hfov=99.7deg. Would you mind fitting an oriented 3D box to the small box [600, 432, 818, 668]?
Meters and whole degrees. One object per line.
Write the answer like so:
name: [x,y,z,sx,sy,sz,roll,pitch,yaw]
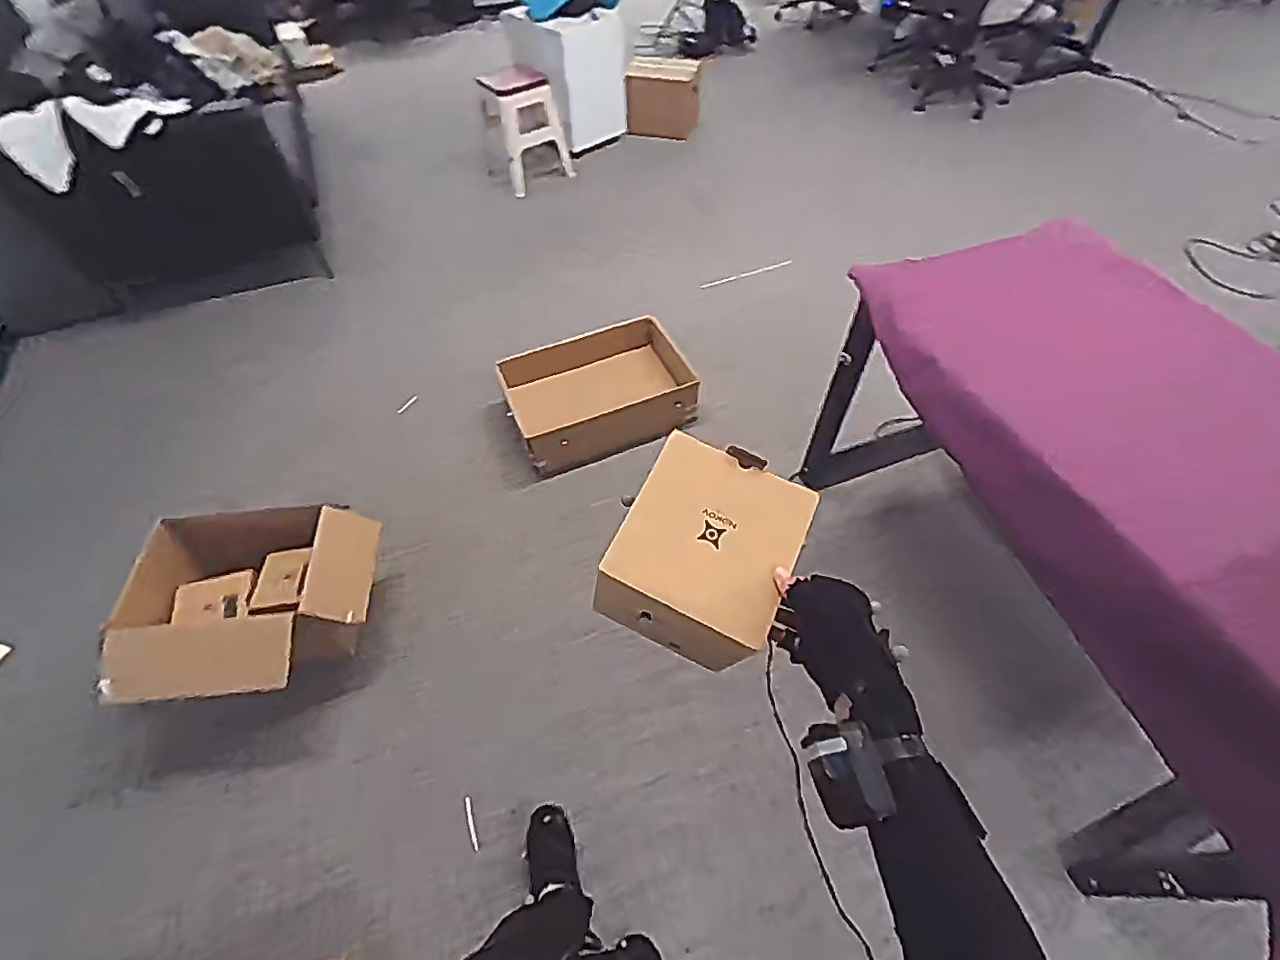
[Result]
small box: [0.066,0.086,0.595,0.168,0.176,0.179,26,62,6]
